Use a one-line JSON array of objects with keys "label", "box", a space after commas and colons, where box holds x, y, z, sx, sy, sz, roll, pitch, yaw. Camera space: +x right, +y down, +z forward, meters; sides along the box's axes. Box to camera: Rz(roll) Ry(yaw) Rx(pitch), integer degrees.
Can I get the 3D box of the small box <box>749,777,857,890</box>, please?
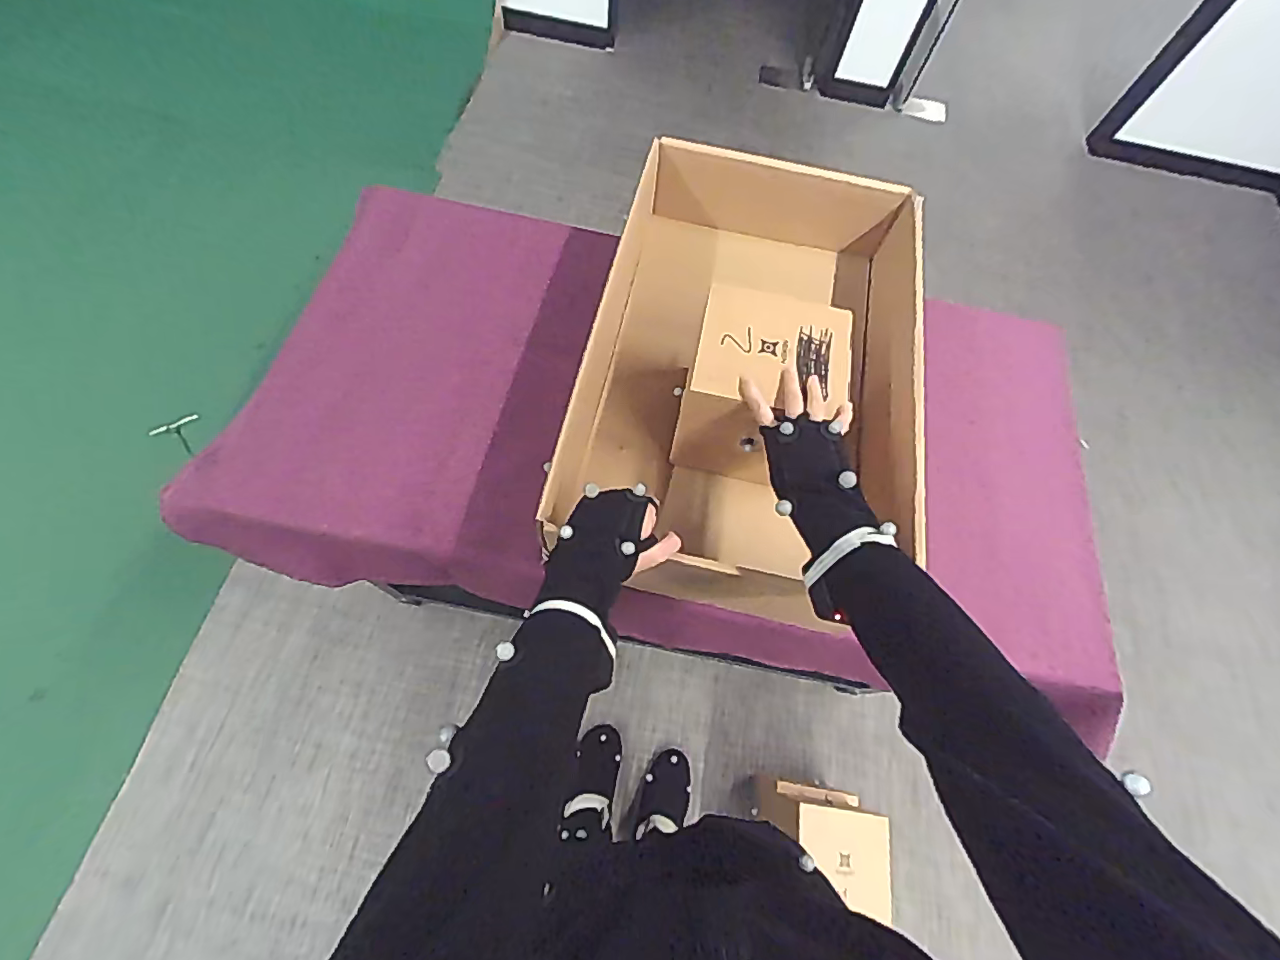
[{"label": "small box", "box": [0.350, 0.756, 1.176, 0.179, 0.176, 0.168, 10, 66, 1]}]
